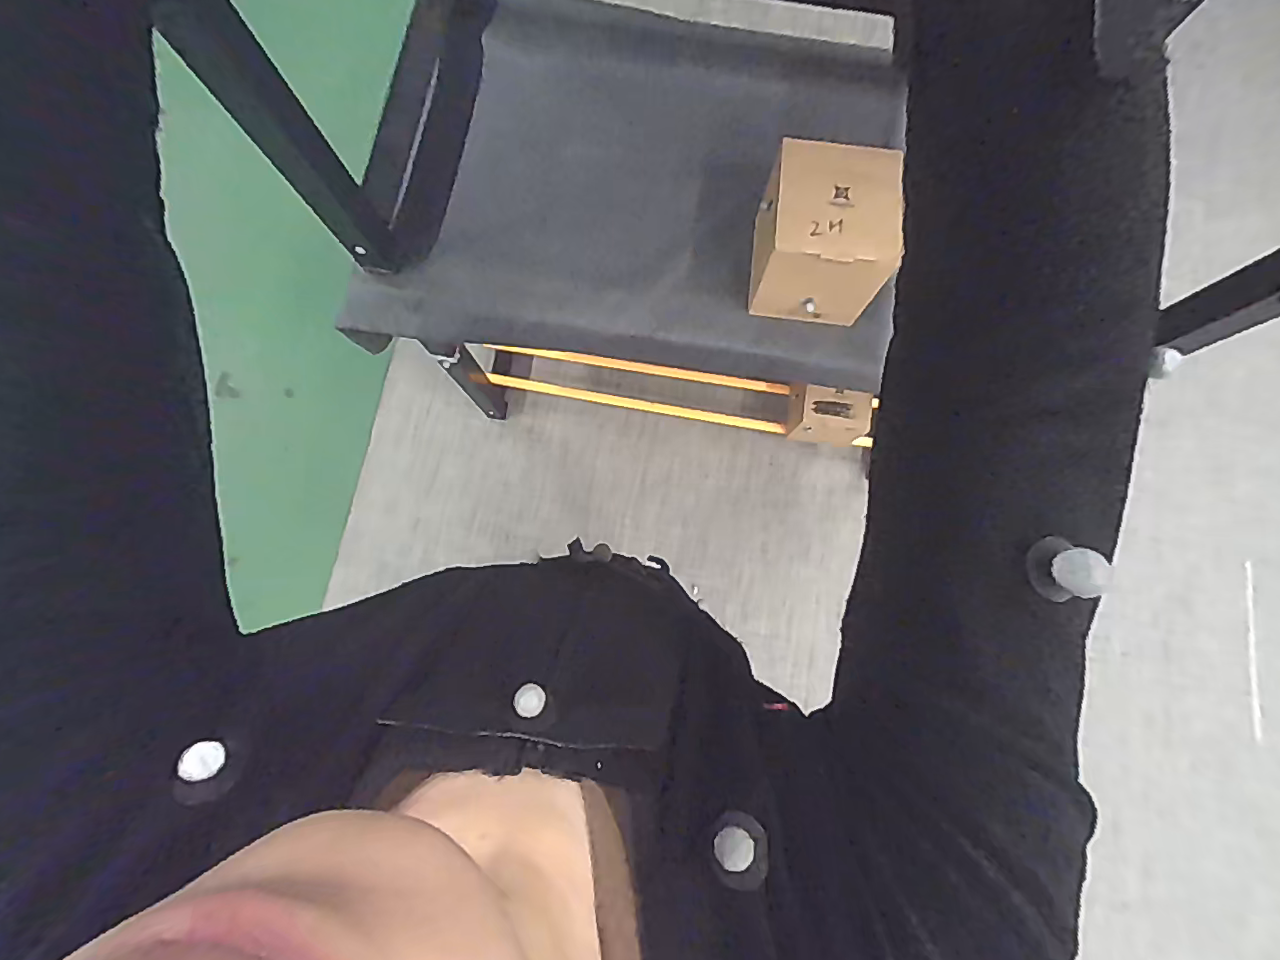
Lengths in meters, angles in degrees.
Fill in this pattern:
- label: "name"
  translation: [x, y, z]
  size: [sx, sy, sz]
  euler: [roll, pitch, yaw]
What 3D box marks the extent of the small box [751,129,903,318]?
- label: "small box"
  translation: [0.264, -0.367, 0.794]
  size: [0.168, 0.176, 0.179]
  euler: [7, 78, 1]
